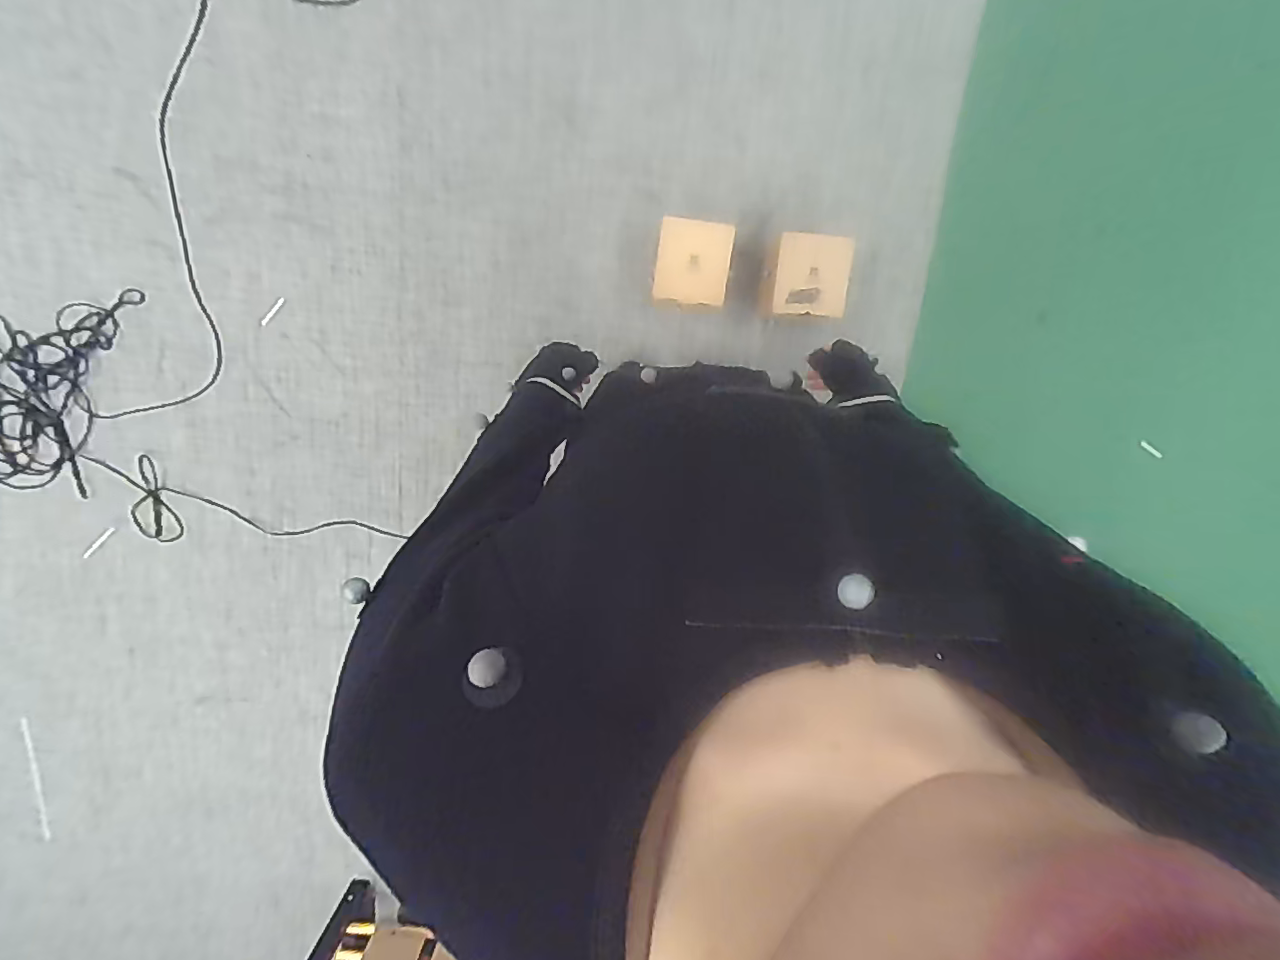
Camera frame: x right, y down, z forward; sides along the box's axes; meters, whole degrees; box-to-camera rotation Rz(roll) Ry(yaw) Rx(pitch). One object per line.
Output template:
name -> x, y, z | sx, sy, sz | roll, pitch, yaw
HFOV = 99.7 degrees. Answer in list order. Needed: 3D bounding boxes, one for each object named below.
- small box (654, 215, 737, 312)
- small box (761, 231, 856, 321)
small box -> 0.124, -0.508, 1.288 | 0.168, 0.176, 0.179 | 8, 104, -1
small box -> 0.391, -0.477, 1.287 | 0.168, 0.176, 0.179 | 5, 103, 1
